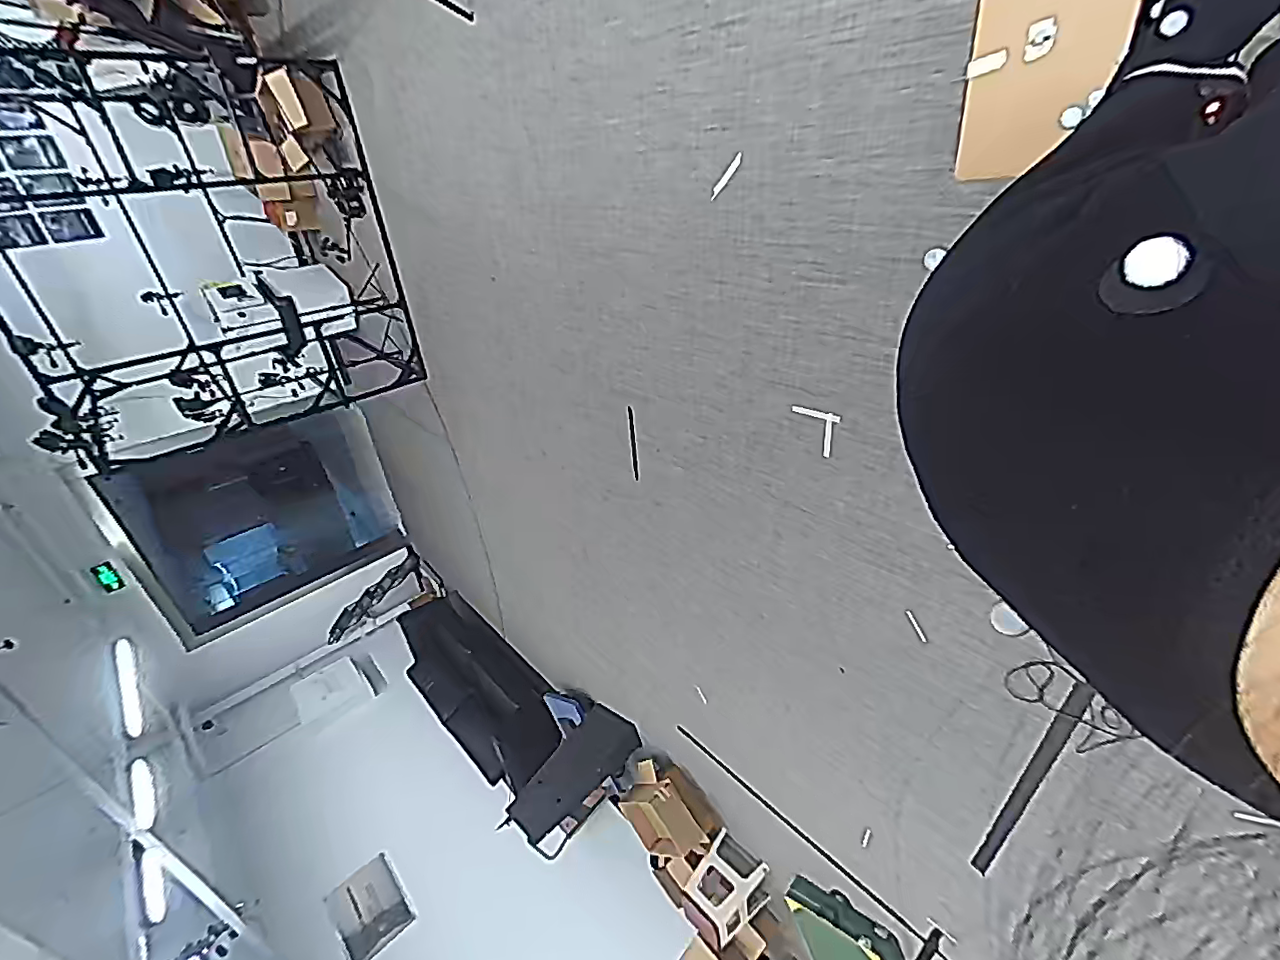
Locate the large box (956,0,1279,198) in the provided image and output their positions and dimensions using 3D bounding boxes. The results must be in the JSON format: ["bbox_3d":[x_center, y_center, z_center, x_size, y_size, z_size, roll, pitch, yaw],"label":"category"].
[{"bbox_3d":[0.765,-0.665,0.874,0.320,0.408,0.320,23,132,41],"label":"large box"}]
